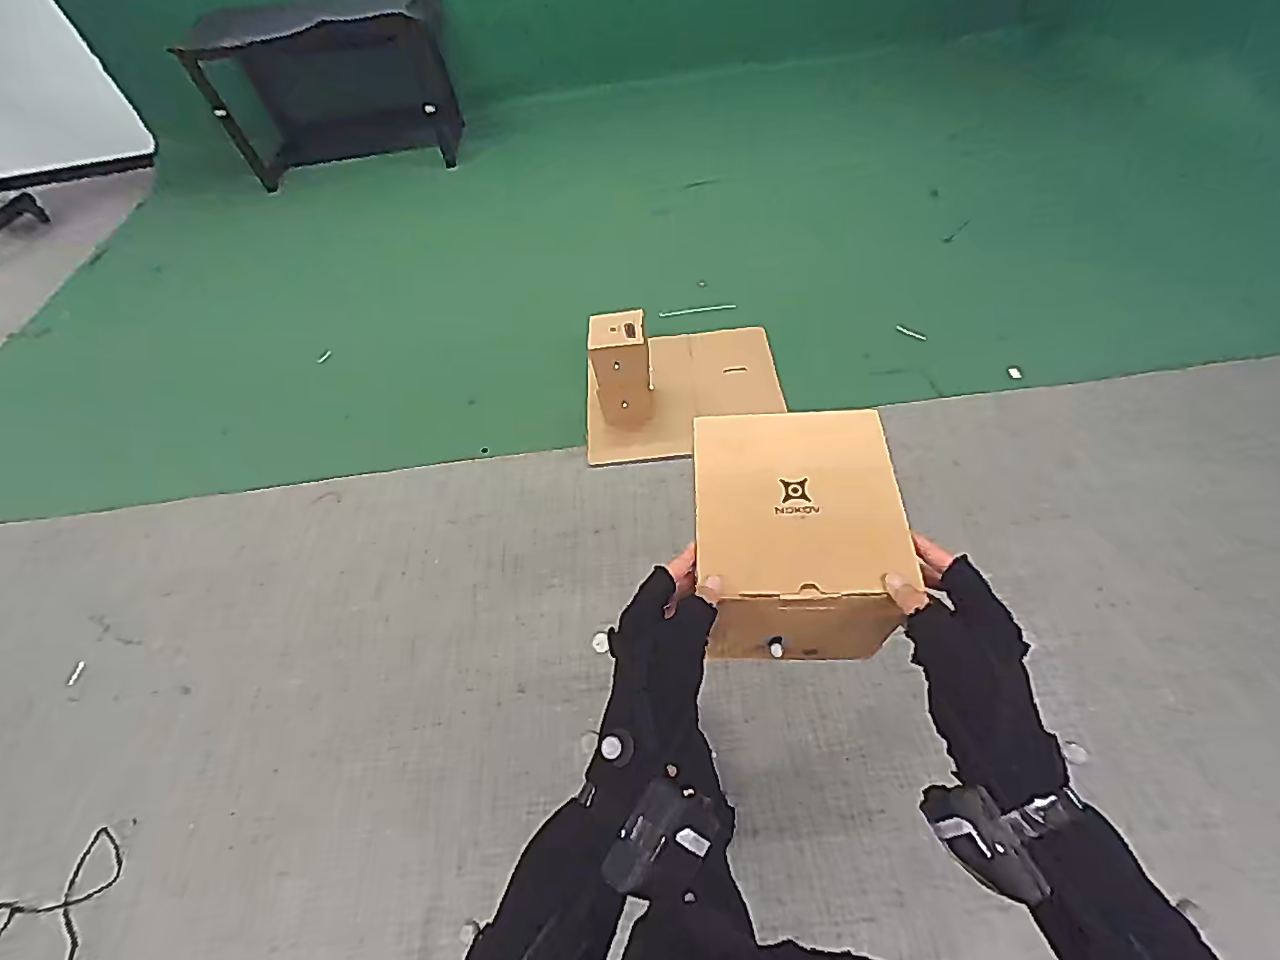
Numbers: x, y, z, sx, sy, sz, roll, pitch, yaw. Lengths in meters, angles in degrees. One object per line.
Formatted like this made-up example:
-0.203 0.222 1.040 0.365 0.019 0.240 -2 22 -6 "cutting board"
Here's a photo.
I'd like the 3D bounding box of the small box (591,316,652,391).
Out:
-0.053 -0.409 1.764 0.179 0.176 0.168 -5 53 7 "small box"
